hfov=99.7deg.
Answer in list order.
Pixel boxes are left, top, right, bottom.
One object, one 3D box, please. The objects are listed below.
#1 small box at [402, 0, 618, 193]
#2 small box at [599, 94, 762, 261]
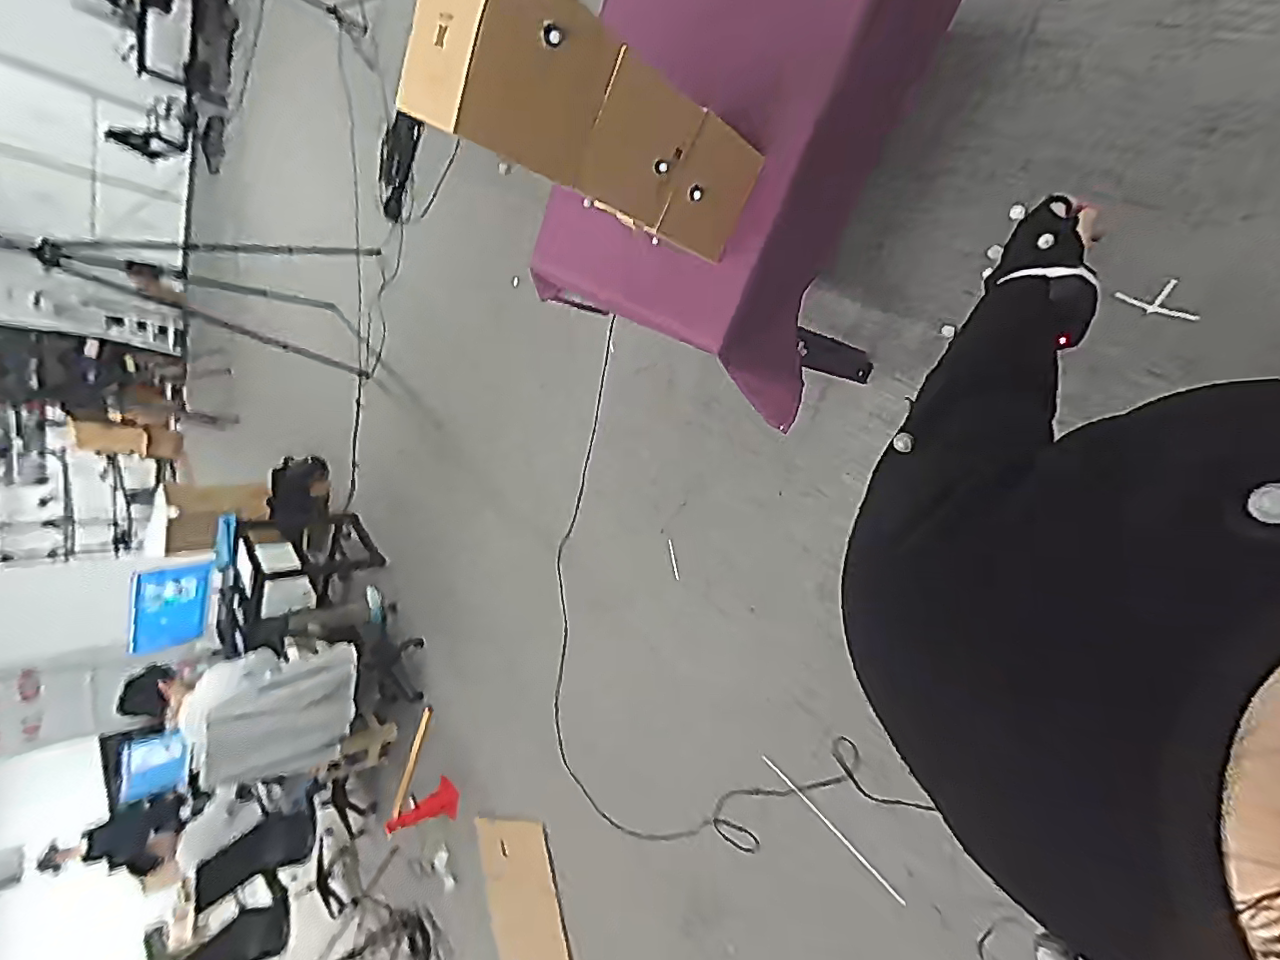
[{"bbox_3d":[-0.151,-0.478,0.643,0.168,0.176,0.179,42,118,33],"label":"small box"},{"bbox_3d":[0.069,-0.484,0.886,0.168,0.176,0.179,41,116,33],"label":"small box"}]
